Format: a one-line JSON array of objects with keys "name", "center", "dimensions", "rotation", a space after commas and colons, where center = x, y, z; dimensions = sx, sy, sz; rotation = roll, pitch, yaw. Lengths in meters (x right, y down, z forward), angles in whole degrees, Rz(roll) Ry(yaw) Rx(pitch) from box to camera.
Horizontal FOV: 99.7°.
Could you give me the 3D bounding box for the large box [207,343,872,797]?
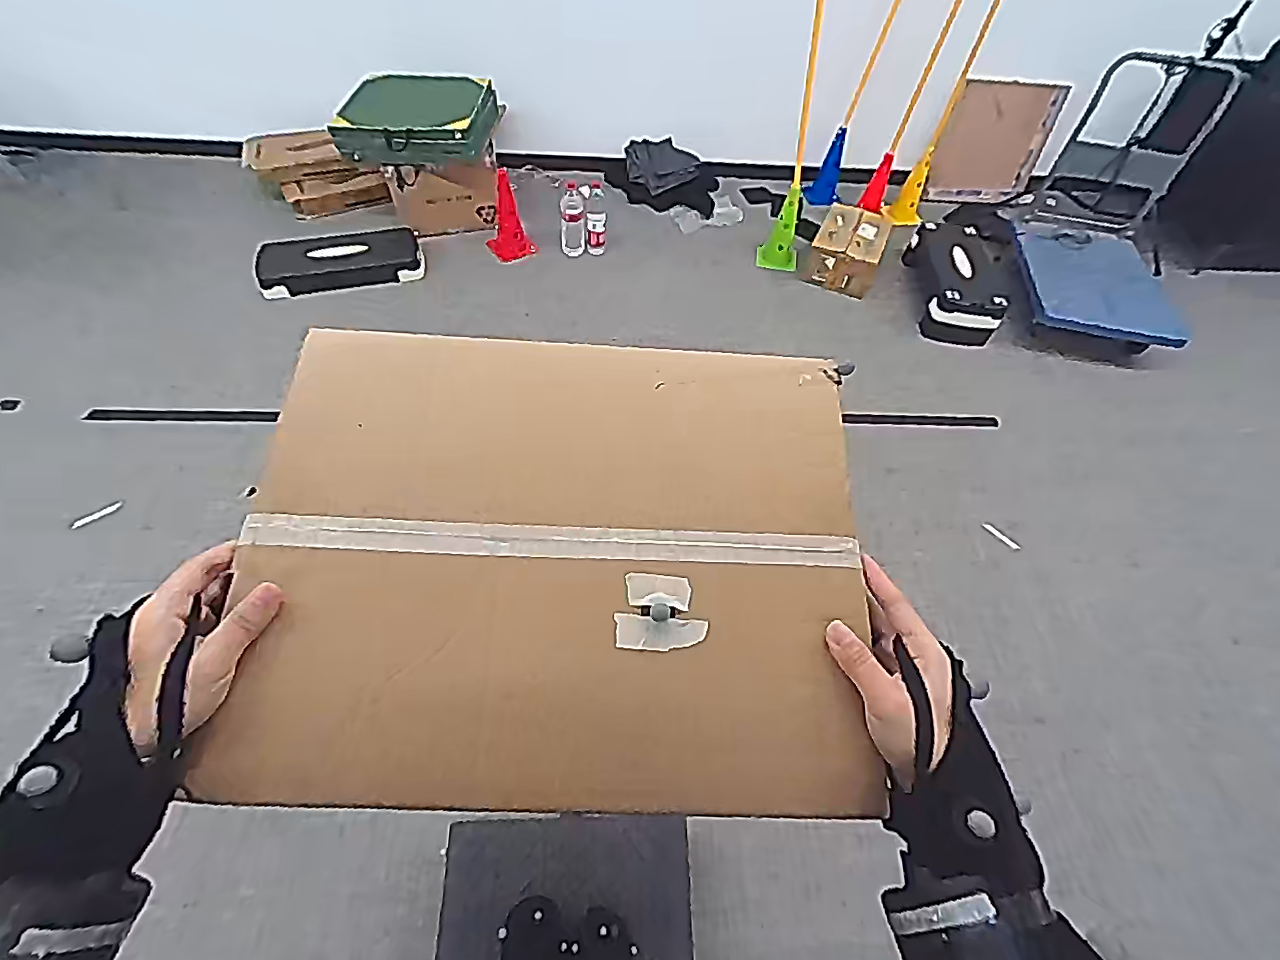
[{"name": "large box", "center": [-0.061, 0.097, 0.513], "dimensions": [0.408, 0.320, 0.320], "rotation": [3, 69, -3]}]
